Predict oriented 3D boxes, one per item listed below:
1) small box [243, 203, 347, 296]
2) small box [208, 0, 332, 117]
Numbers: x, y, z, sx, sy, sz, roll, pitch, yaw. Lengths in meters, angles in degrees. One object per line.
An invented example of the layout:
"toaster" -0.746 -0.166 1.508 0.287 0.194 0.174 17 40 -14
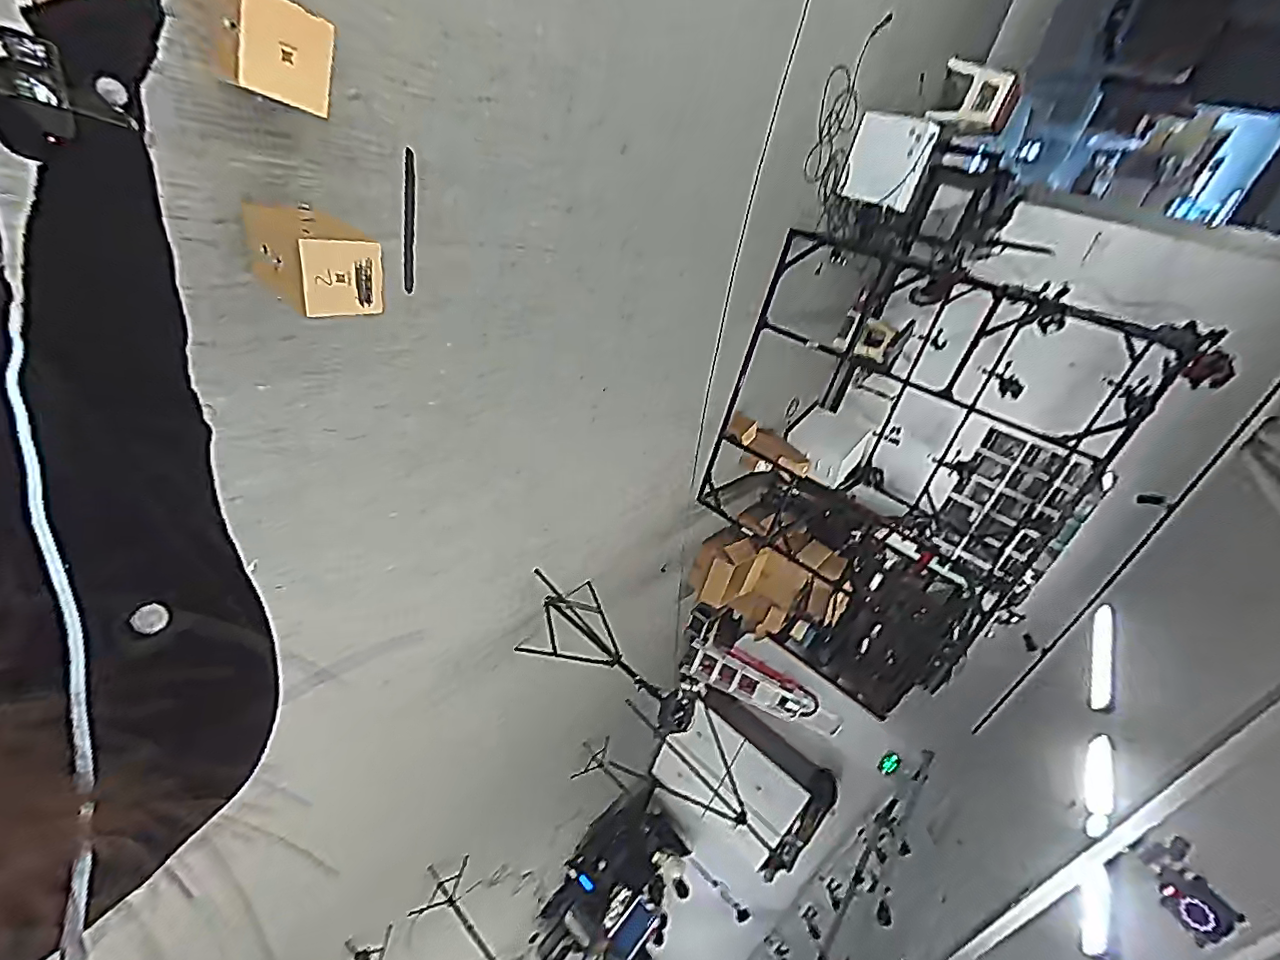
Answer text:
"small box" -0.850 -0.569 1.335 0.168 0.176 0.179 -23 137 -46
"small box" -0.773 -0.897 1.127 0.168 0.176 0.179 -12 128 -52
